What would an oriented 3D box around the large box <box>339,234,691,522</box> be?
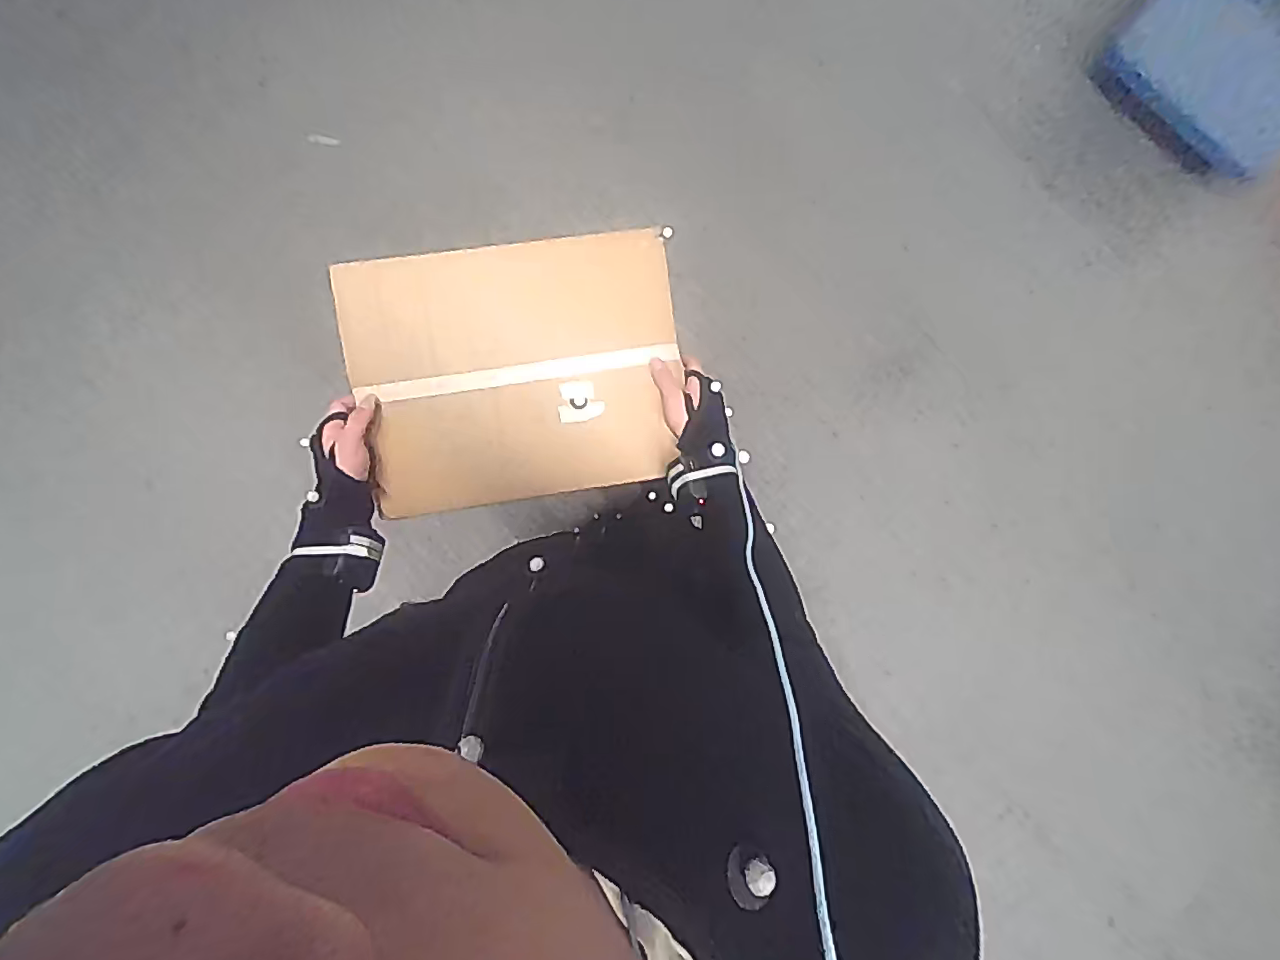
[{"bbox_3d":[-0.167,-0.140,0.837,0.408,0.320,0.320,-10,95,-5],"label":"large box"}]
